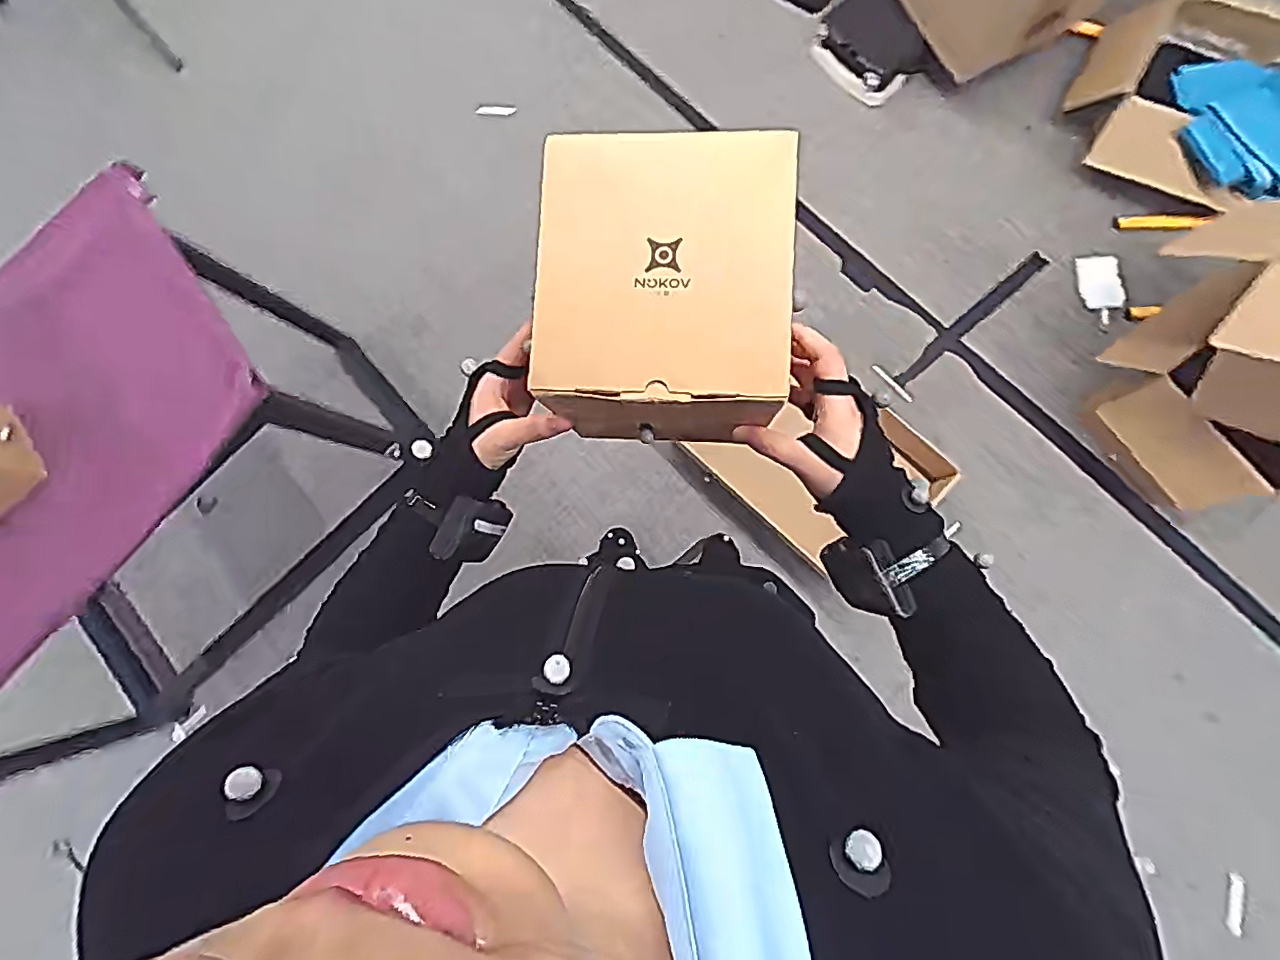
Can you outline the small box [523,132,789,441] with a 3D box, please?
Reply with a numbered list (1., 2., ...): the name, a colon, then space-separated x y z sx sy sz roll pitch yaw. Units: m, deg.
1. small box: 0.016 -0.132 0.423 0.168 0.176 0.179 2 86 5
